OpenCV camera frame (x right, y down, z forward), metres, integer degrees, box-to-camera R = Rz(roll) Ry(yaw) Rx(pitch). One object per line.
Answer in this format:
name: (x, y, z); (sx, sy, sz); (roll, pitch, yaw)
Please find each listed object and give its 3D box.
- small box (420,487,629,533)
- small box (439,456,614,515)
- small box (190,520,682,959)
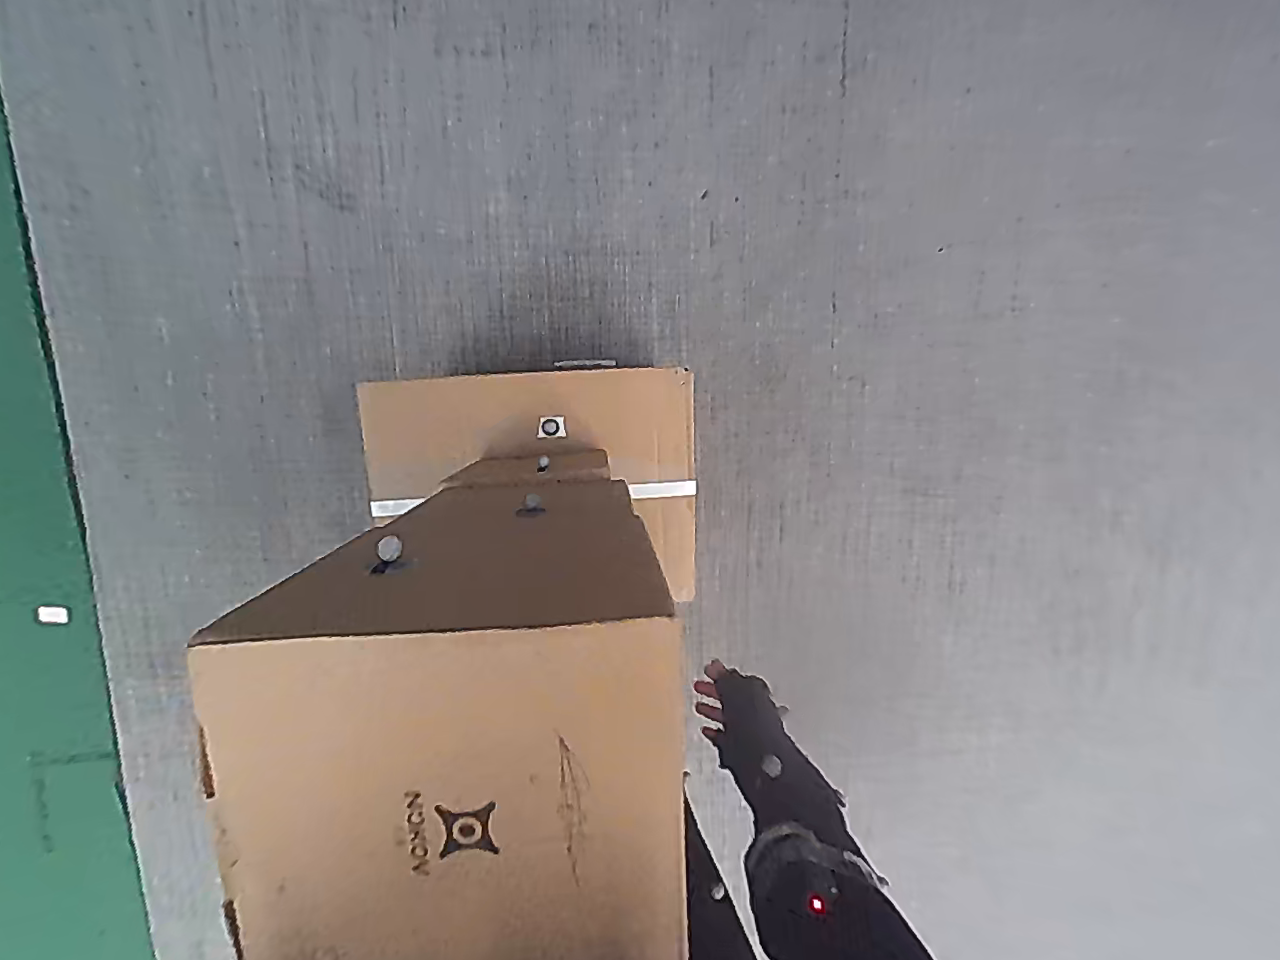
small box: (-0.089, 0.105, 0.449); (0.179, 0.176, 0.168); (-6, 99, -3)
small box: (-0.108, 0.074, 0.609); (0.168, 0.176, 0.179); (-5, 100, -2)
small box: (-0.077, 0.122, 0.289); (0.179, 0.176, 0.168); (-4, 100, -4)
